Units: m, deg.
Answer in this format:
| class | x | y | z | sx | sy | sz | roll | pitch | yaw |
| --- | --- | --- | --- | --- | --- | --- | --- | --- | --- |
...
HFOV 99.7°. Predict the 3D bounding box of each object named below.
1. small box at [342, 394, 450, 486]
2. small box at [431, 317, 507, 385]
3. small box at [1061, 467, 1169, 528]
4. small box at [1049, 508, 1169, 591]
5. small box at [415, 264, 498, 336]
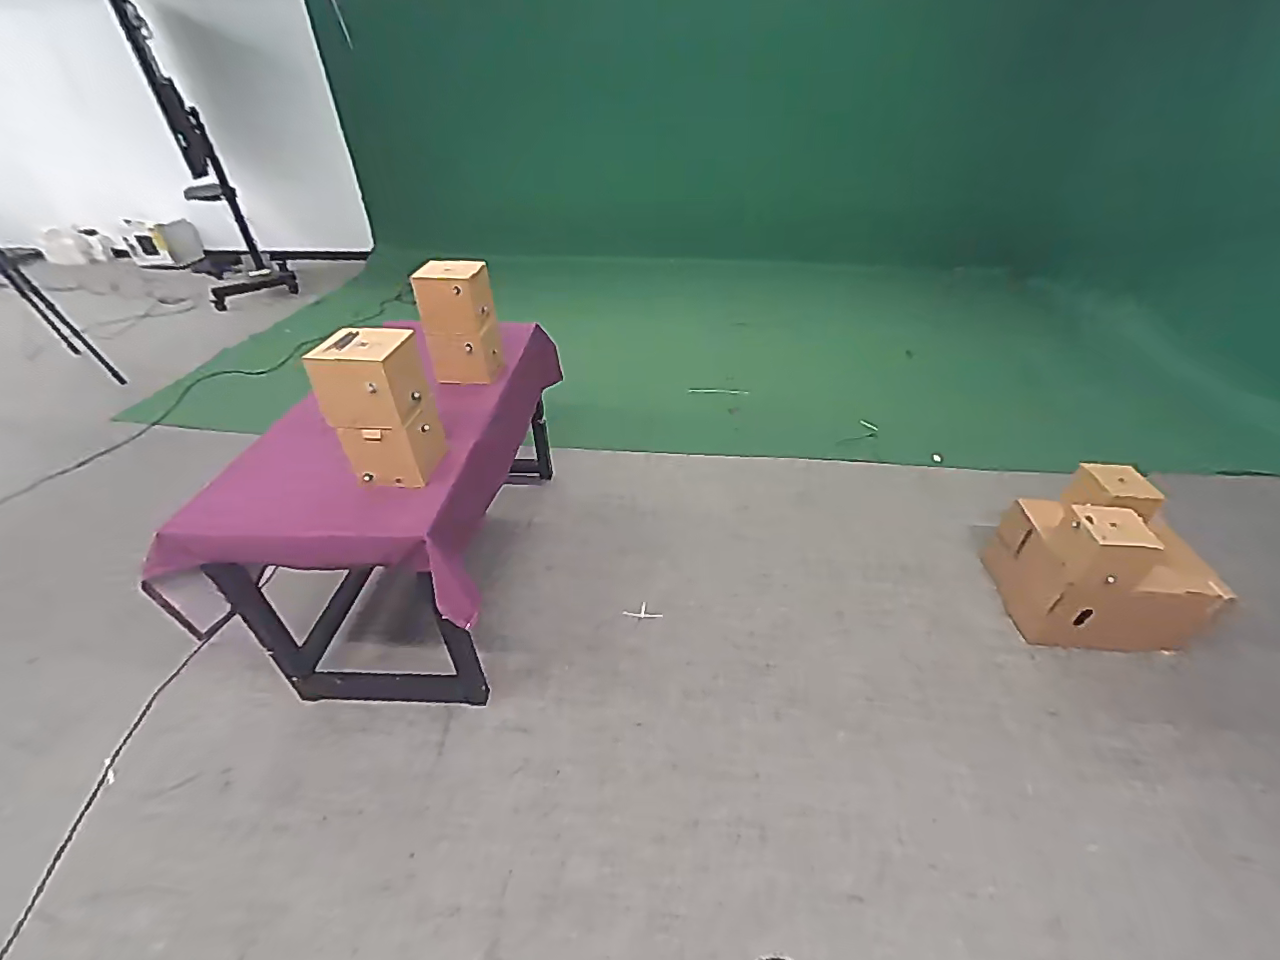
| class | x | y | z | sx | sy | sz | roll | pitch | yaw |
| --- | --- | --- | --- | --- | --- | --- | --- | --- | --- |
| small box | -0.588 | -0.098 | 1.333 | 0.168 | 0.176 | 0.179 | 2 | 37 | 4 |
| small box | -0.543 | -0.418 | 1.745 | 0.179 | 0.176 | 0.168 | 2 | 37 | 5 |
| small box | 1.527 | 0.079 | 1.752 | 0.168 | 0.176 | 0.179 | 4 | 37 | 2 |
| small box | 1.356 | 0.206 | 1.580 | 0.179 | 0.176 | 0.168 | 5 | 38 | 5 |
| small box | -0.552 | -0.550 | 1.650 | 0.179 | 0.176 | 0.168 | 4 | 38 | 4 |
